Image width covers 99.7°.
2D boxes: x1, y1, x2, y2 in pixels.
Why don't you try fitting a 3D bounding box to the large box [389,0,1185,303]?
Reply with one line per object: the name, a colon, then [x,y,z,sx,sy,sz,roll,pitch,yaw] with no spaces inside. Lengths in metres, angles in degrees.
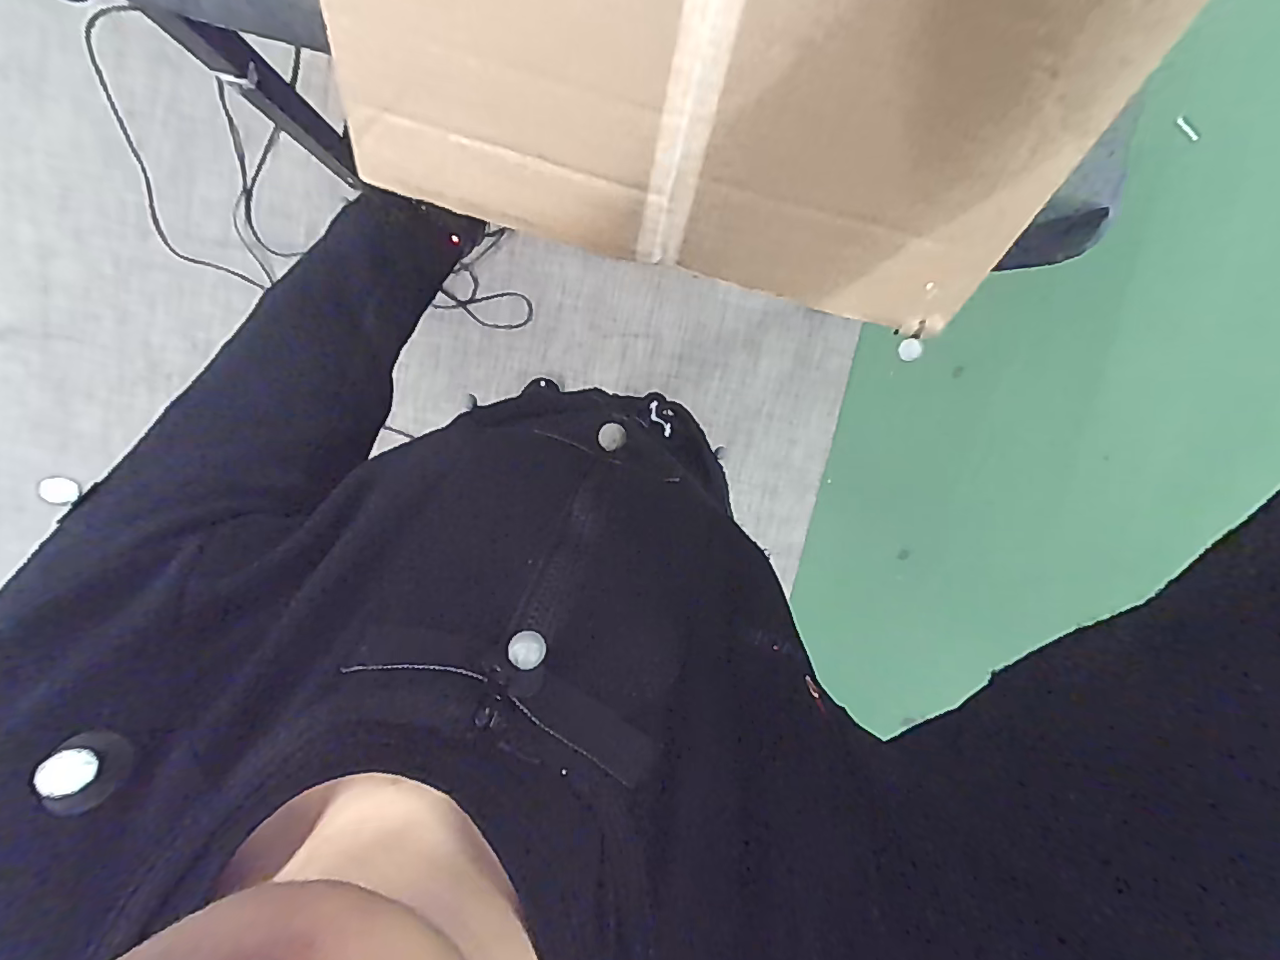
large box: [0.082,-0.362,0.224,0.320,0.408,0.320,14,55,-2]
